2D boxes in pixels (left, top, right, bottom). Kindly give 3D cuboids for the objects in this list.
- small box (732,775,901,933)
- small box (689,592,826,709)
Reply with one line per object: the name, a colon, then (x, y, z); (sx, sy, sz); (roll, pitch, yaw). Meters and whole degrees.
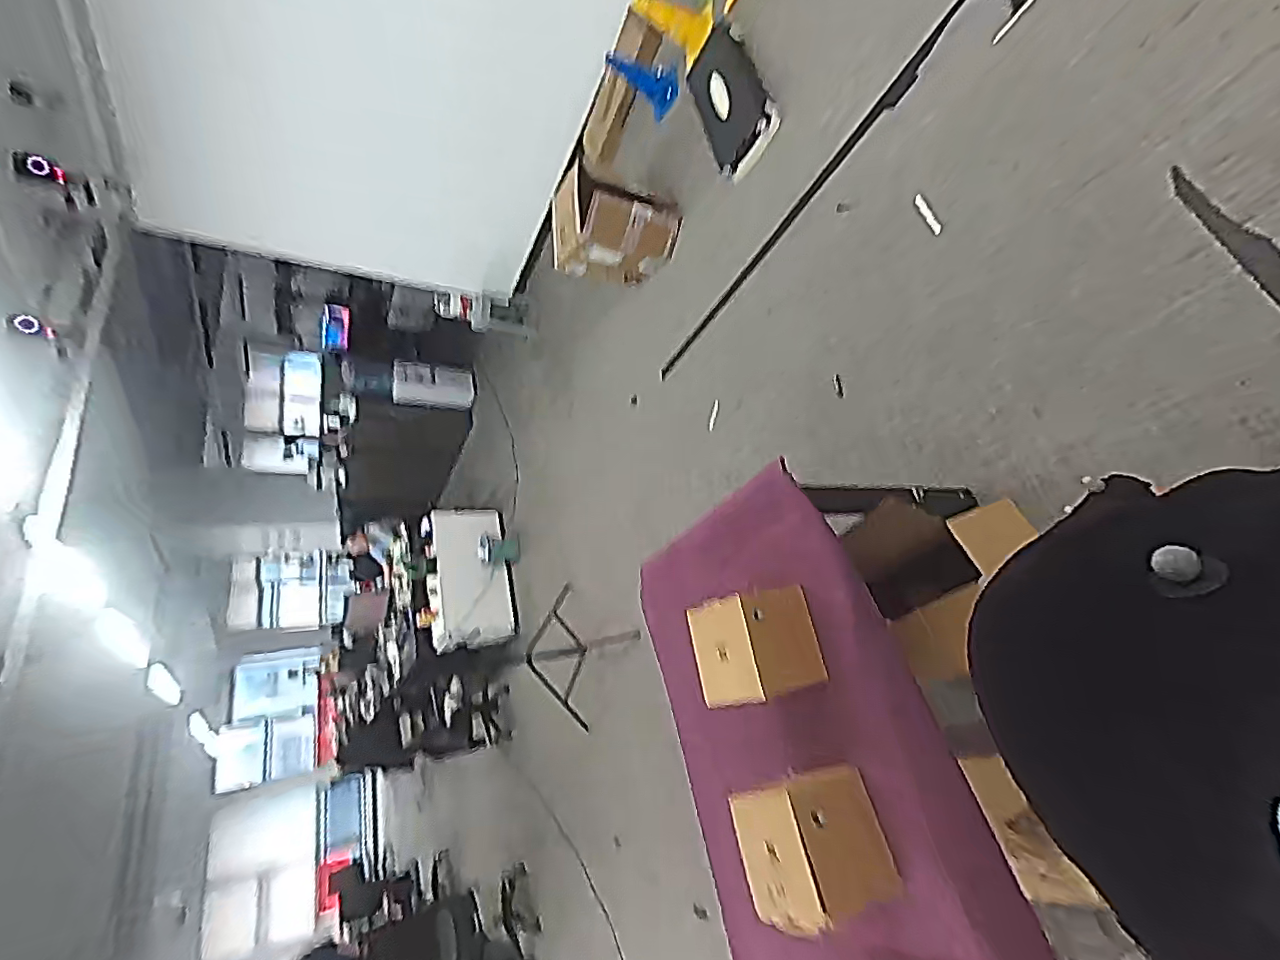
small box: (0.288, 0.606, 0.899); (0.168, 0.176, 0.179); (-50, 48, 48)
small box: (0.221, 0.321, 1.025); (0.168, 0.176, 0.179); (-39, 56, 51)
